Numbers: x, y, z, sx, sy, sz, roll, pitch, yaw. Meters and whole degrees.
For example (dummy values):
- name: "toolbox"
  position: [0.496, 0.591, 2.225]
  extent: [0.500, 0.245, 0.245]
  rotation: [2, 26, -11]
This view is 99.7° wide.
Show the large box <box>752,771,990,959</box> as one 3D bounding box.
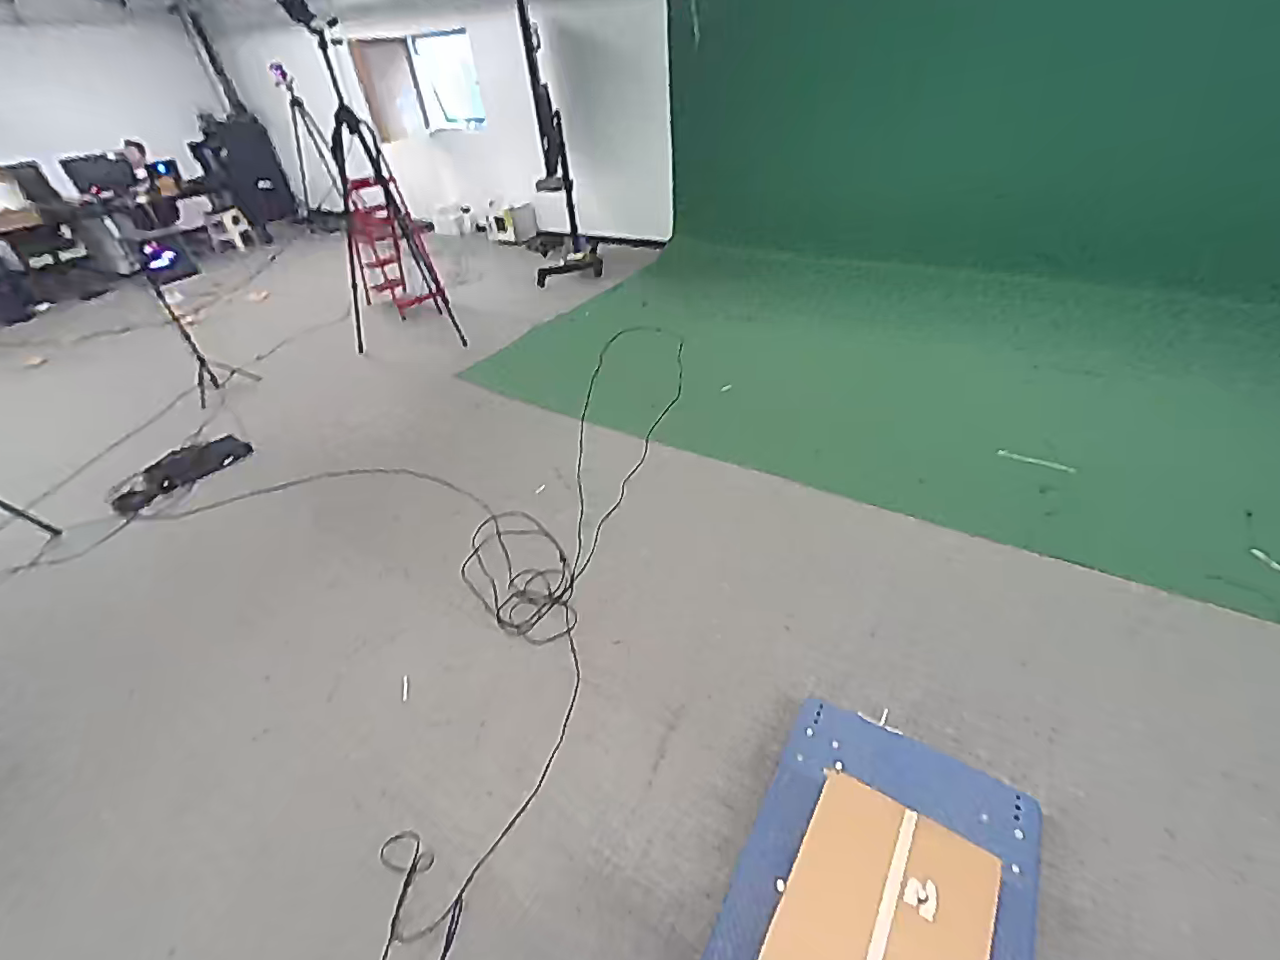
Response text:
- name: "large box"
  position: [0.415, 0.873, 1.019]
  extent: [0.320, 0.320, 0.408]
  rotation: [20, 44, 28]
